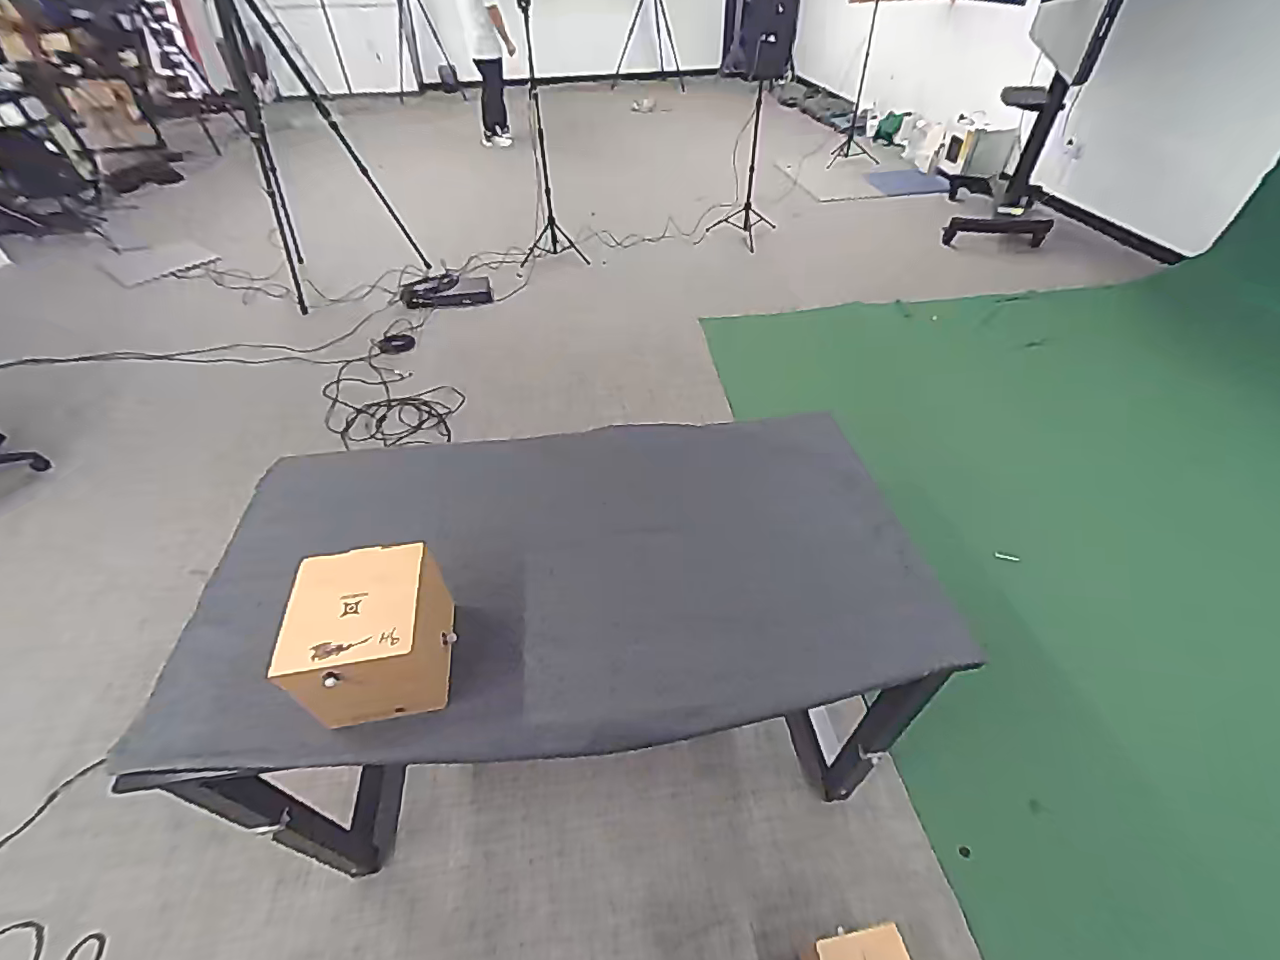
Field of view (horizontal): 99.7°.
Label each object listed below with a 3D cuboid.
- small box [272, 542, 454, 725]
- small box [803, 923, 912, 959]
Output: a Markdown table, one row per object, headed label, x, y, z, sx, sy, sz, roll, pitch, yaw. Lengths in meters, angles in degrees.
| label | x | y | z | sx | sy | sz | roll | pitch | yaw |
| --- | --- | --- | --- | --- | --- | --- | --- | --- | --- |
| small box | -0.368 | 0.214 | 0.760 | 0.168 | 0.176 | 0.179 | -8 | 46 | -6 |
| small box | 0.424 | 0.965 | 1.014 | 0.168 | 0.176 | 0.179 | -8 | 45 | -6 |
